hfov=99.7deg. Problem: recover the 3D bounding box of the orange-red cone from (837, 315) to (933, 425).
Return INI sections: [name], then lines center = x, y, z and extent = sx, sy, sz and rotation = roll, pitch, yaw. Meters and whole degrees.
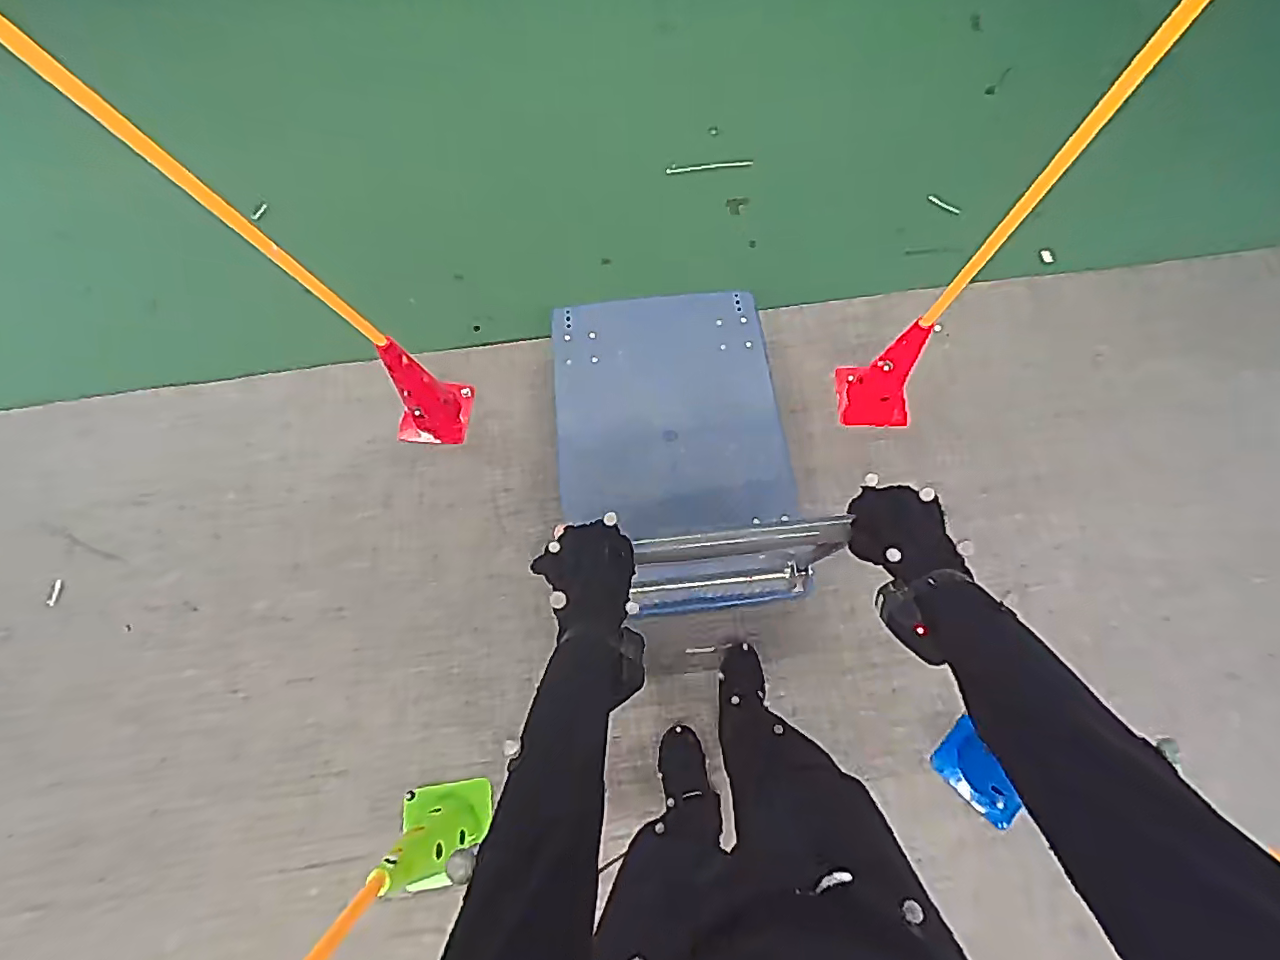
[orange-red cone]
center = 0.680, -0.311, 1.437
extent = 0.198, 0.360, 0.199
rotation = 2, 70, 3
